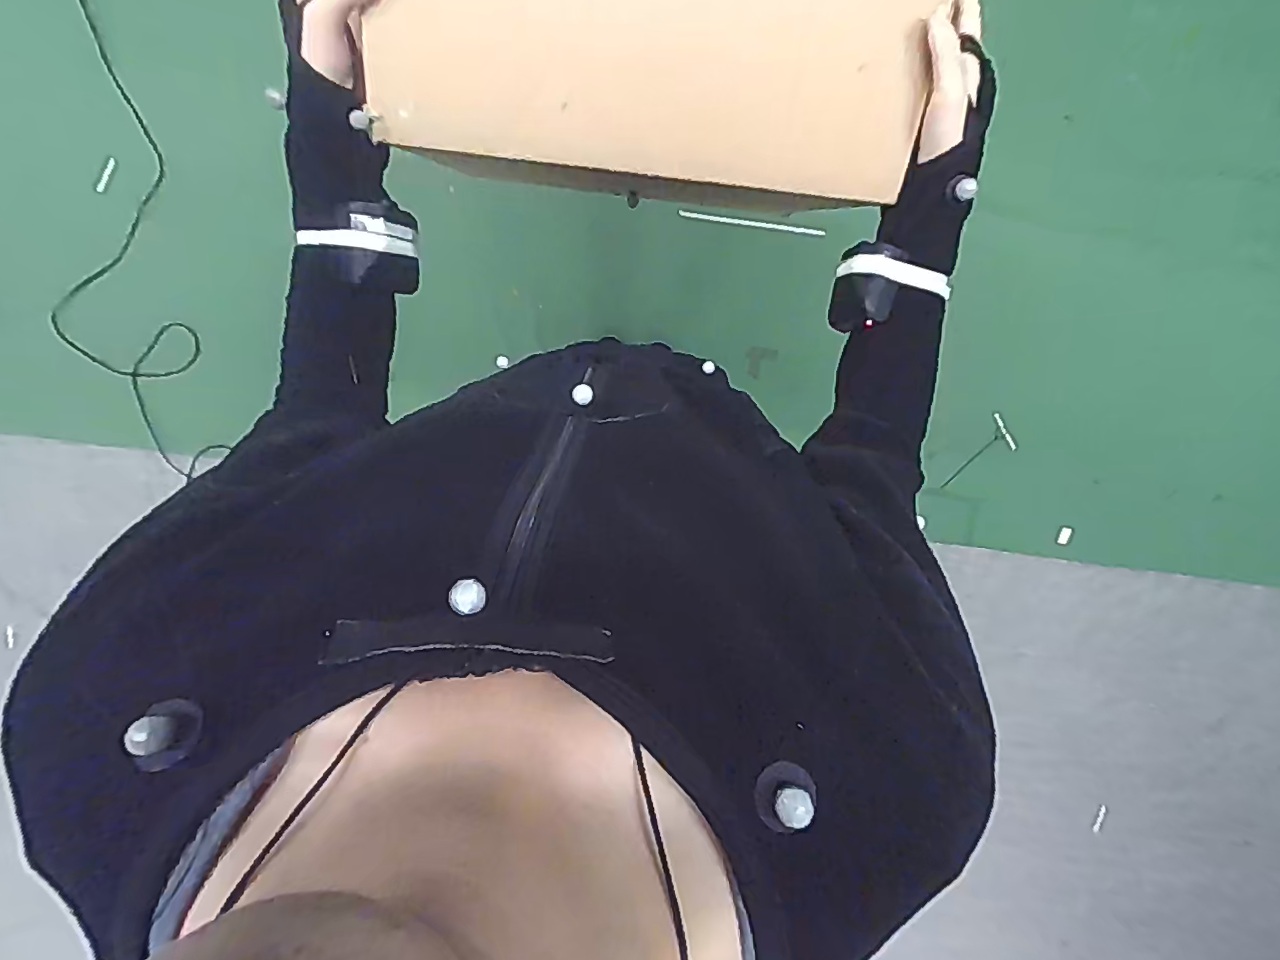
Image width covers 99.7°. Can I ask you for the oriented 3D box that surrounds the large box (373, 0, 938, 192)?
[{"bbox_3d":[0.013,-0.449,0.488,0.408,0.320,0.320,3,116,-6],"label":"large box"}]
